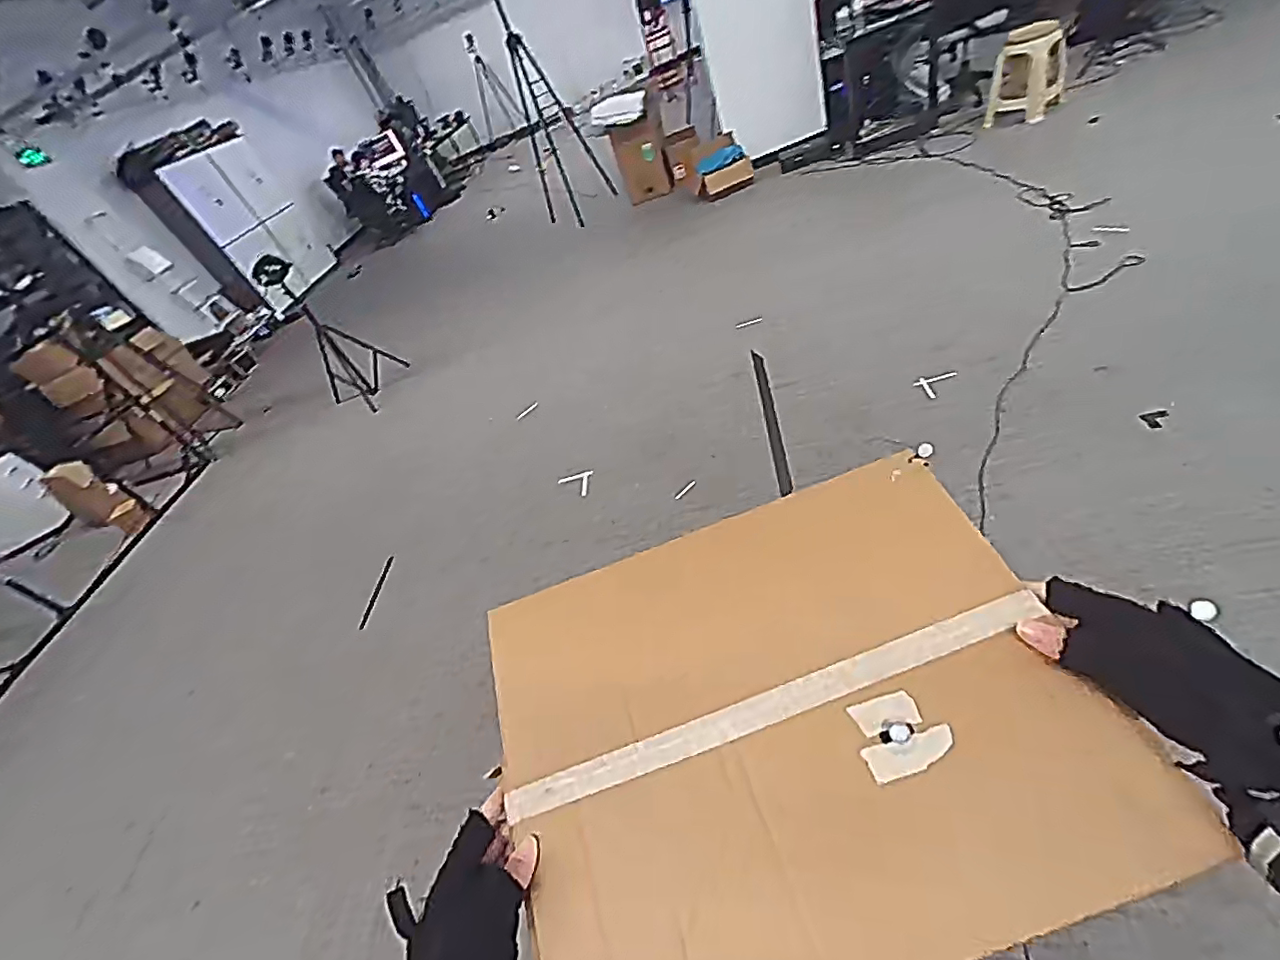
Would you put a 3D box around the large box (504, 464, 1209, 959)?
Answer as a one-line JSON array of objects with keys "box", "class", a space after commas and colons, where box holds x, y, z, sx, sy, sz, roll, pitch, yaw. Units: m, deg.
[{"box": [0.135, 0.254, 0.517, 0.408, 0.320, 0.320, -21, 53, 0], "class": "large box"}]
